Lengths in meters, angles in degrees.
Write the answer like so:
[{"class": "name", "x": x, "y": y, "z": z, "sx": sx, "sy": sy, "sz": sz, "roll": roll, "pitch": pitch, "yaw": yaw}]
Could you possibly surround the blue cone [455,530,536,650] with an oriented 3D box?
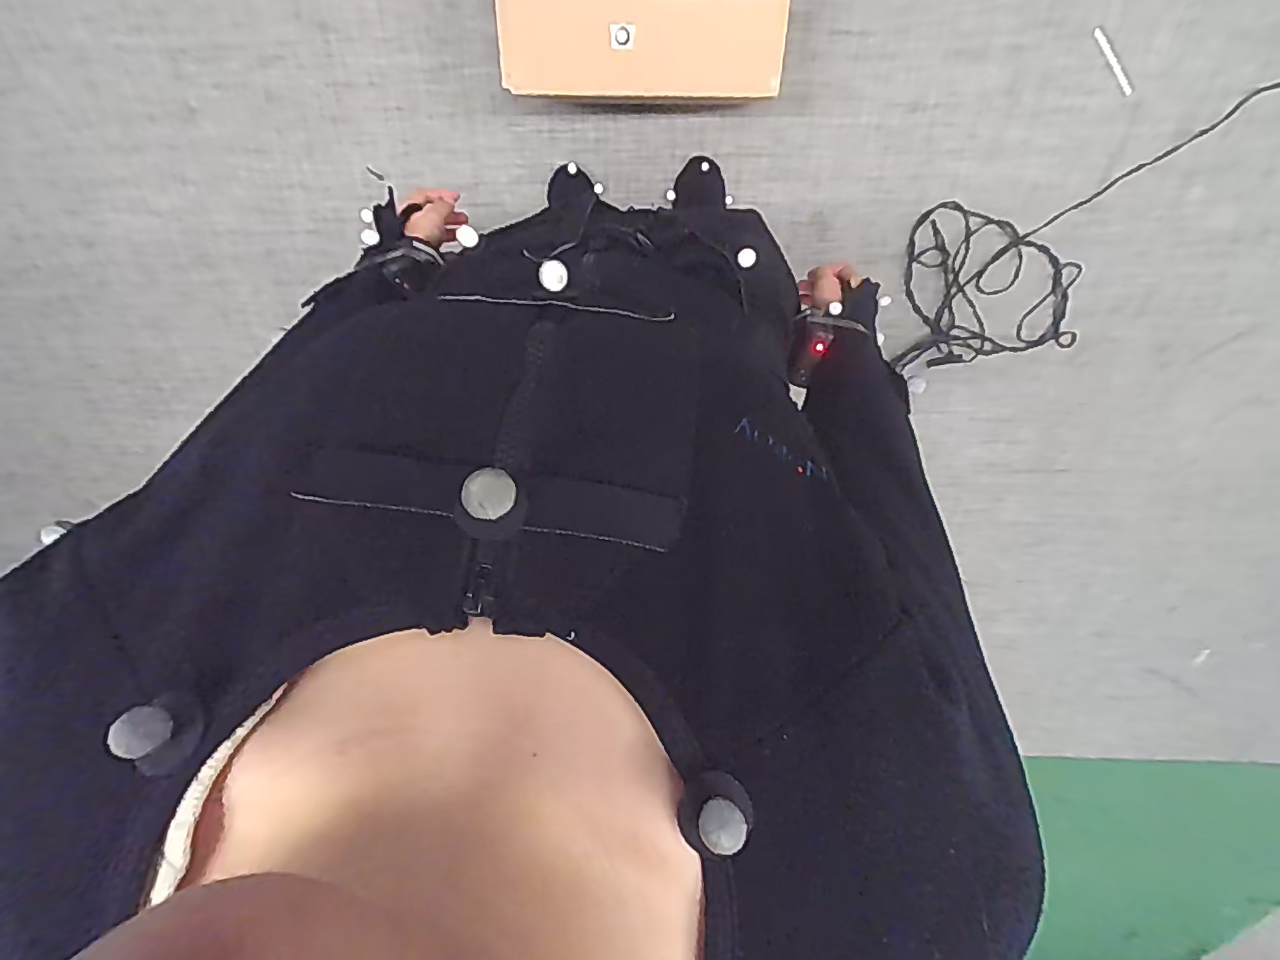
[{"class": "blue cone", "x": -0.422, "y": 0.313, "z": 1.497, "sx": 0.192, "sy": 0.380, "sz": 0.193, "roll": 1, "pitch": 121, "yaw": 3}]
